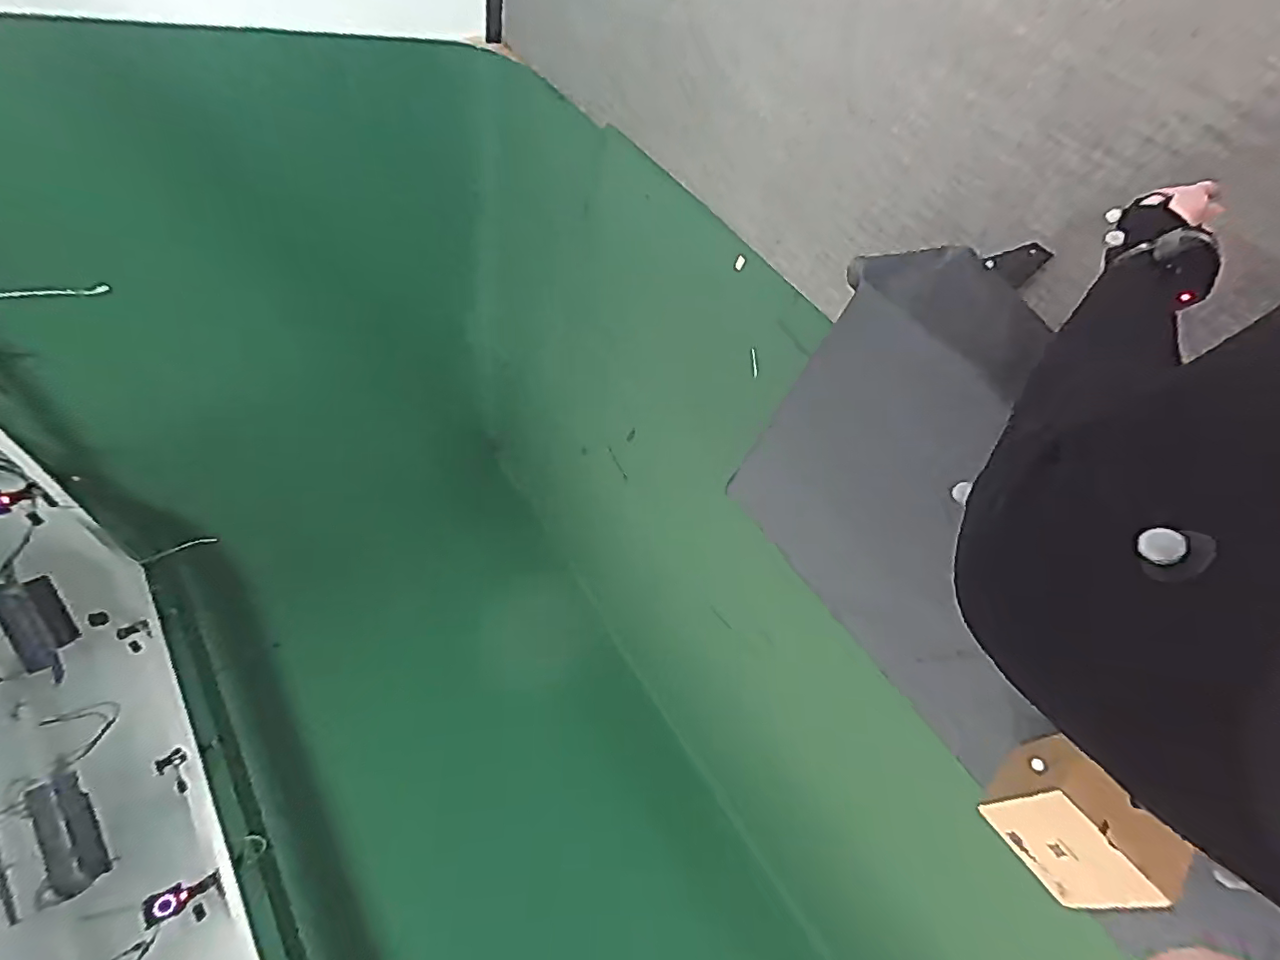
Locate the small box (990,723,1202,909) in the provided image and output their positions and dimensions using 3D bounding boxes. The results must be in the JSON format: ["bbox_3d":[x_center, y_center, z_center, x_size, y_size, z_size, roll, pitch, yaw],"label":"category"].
[{"bbox_3d":[0.695,0.508,0.828,0.168,0.176,0.179,48,145,25],"label":"small box"}]
